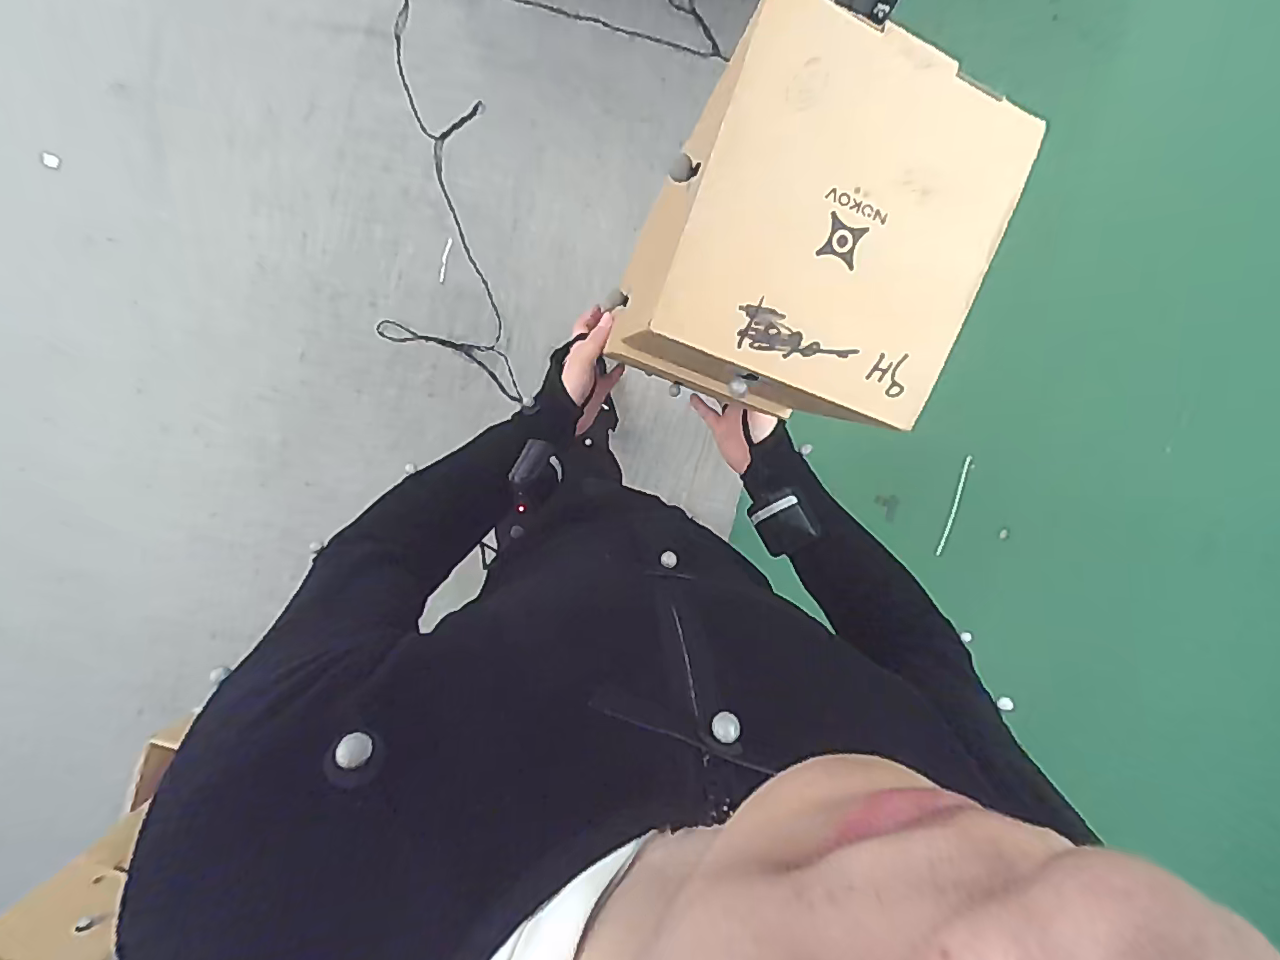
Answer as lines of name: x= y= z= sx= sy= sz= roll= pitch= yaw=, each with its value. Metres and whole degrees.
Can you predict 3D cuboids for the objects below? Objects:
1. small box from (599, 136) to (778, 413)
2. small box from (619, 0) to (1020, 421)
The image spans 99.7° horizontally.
small box: x=0.064 y=-0.180 z=0.524 sx=0.168 sy=0.176 sz=0.179 roll=19 pitch=99 yaw=-11
small box: x=0.090 y=-0.155 z=0.363 sx=0.168 sy=0.176 sz=0.179 roll=19 pitch=99 yaw=-10
